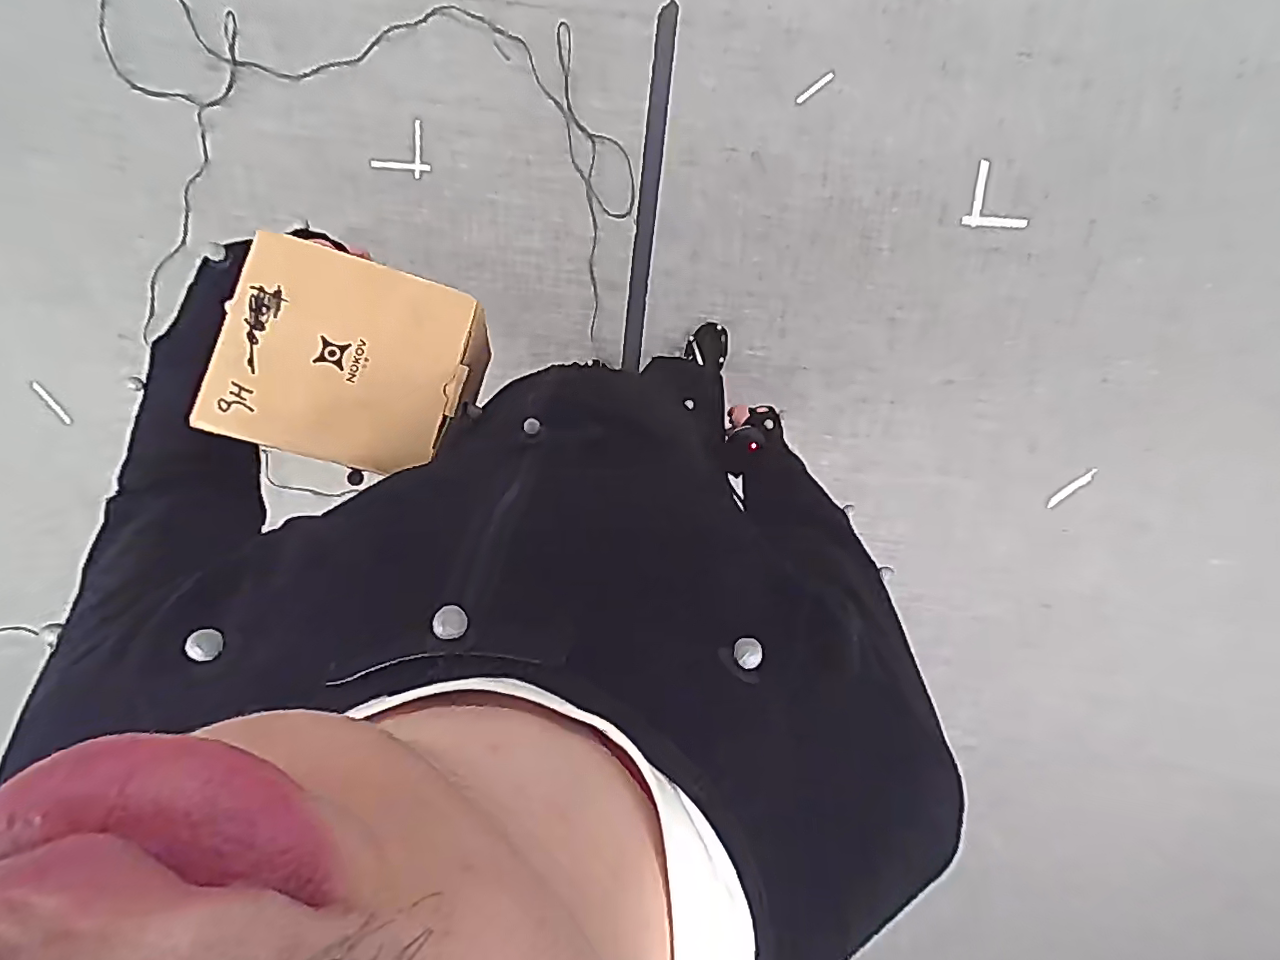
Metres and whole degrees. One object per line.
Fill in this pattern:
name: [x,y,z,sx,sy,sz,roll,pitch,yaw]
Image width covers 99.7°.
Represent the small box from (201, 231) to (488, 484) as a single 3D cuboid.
small box: [-0.251,-0.095,0.514,0.179,0.176,0.168,15,83,-11]
